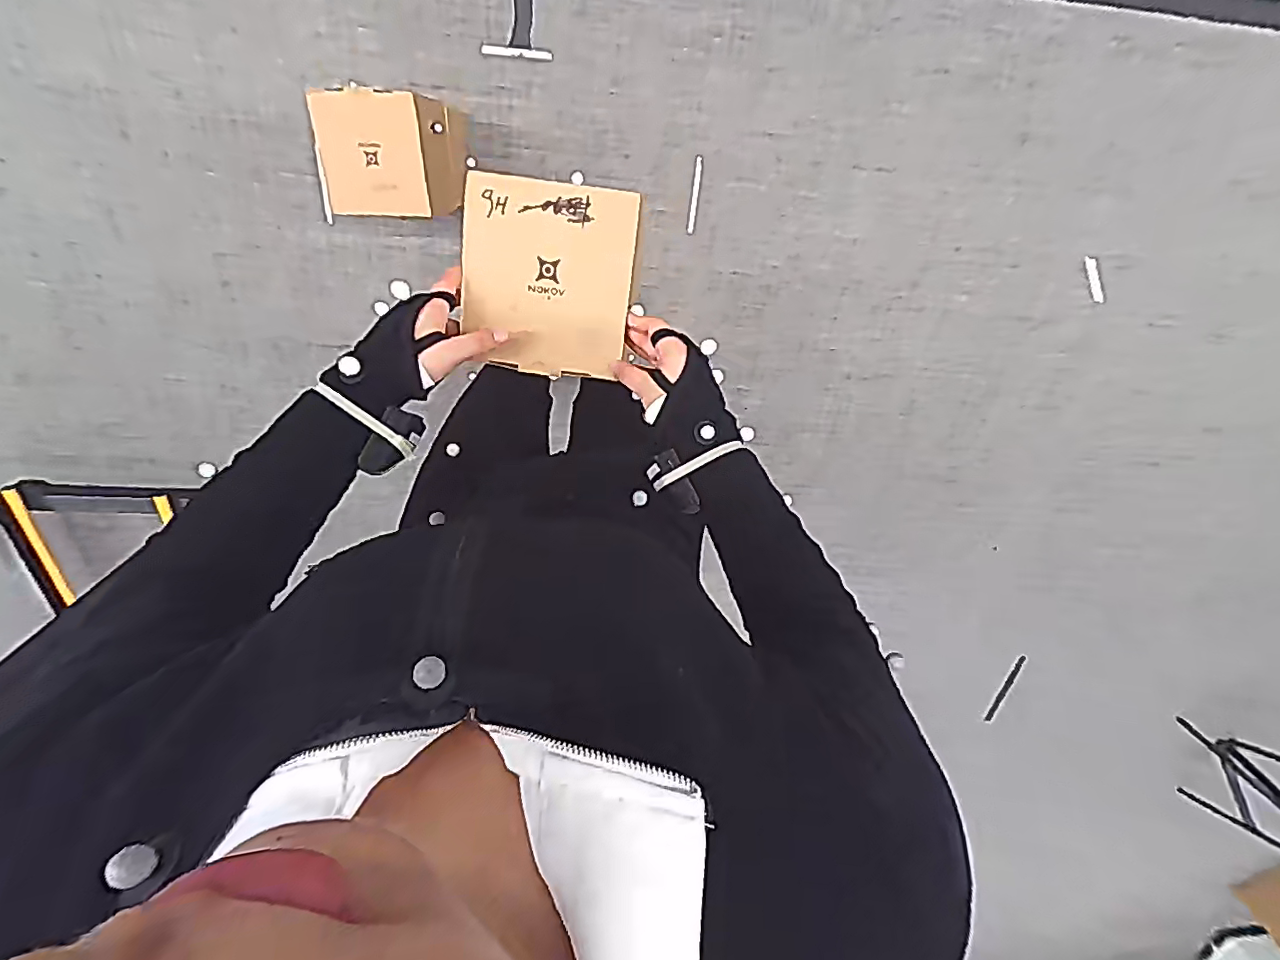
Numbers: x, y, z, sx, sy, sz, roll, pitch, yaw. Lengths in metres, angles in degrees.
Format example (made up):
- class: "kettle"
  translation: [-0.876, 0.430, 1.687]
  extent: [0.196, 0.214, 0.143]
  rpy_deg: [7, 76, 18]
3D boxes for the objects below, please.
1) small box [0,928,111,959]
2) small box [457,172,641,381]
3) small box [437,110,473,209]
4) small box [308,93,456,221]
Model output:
- class: "small box"
  translation: [-1.351, 1.126, 1.195]
  extent: [0.179, 0.176, 0.168]
  rpy_deg: [4, 119, -5]
- class: "small box"
  translation: [-0.092, -0.217, 0.603]
  extent: [0.168, 0.176, 0.179]
  rpy_deg: [8, 106, 0]
- class: "small box"
  translation: [-0.442, -0.637, 1.078]
  extent: [0.179, 0.176, 0.168]
  rpy_deg: [1, 120, -4]
- class: "small box"
  translation: [-0.432, -0.554, 0.938]
  extent: [0.168, 0.176, 0.179]
  rpy_deg: [0, 121, -1]
